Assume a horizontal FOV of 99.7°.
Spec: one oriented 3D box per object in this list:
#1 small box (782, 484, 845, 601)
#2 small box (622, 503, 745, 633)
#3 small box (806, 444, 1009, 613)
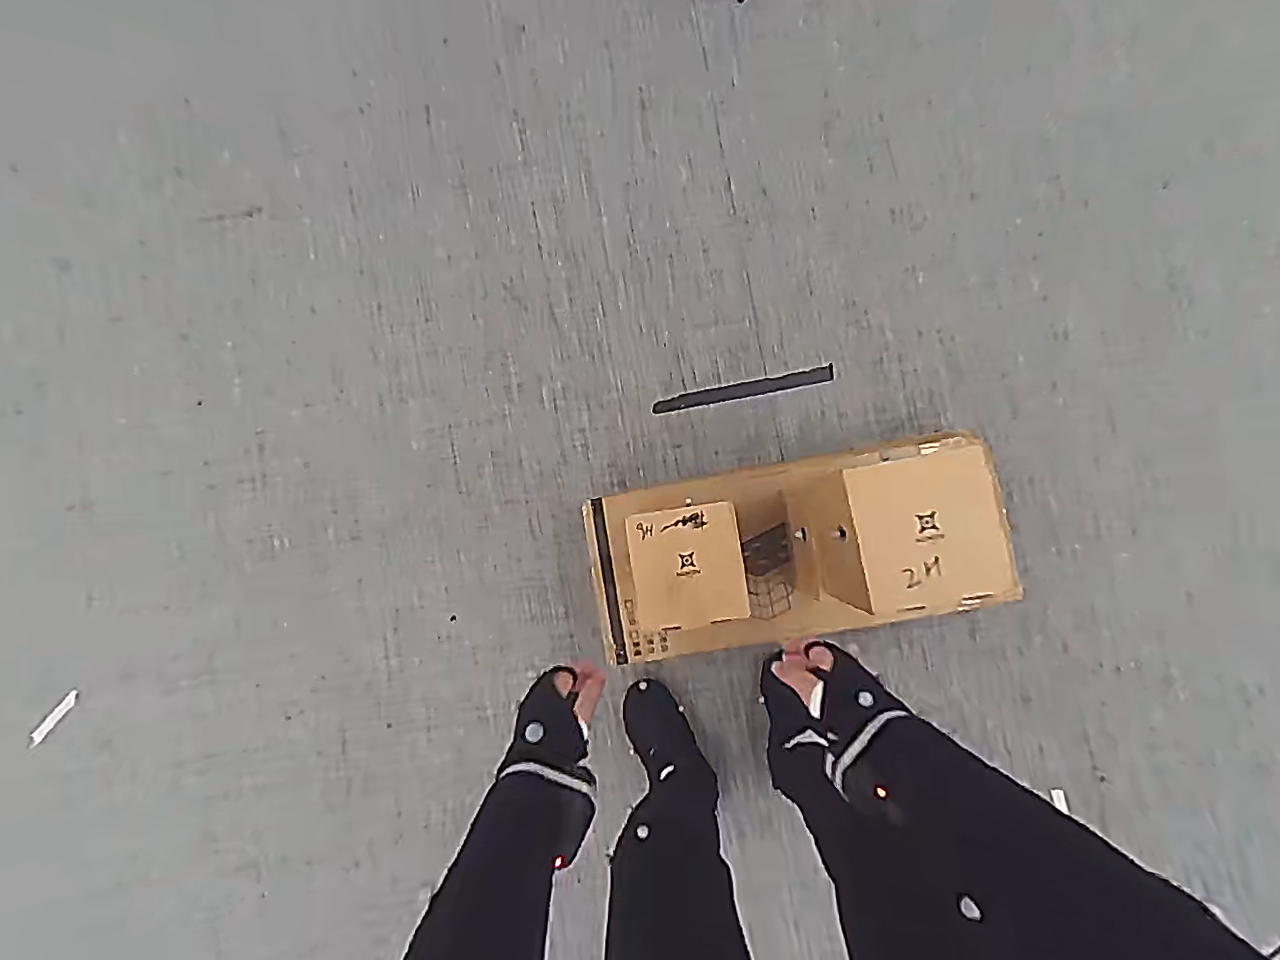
[{"bbox_3d":[0.333,0.089,0.868,0.168,0.176,0.179,-6,87,2],"label":"small box"},{"bbox_3d":[0.068,0.132,0.874,0.168,0.176,0.179,-8,87,2],"label":"small box"},{"bbox_3d":[0.329,0.062,0.704,0.168,0.176,0.179,-10,86,2],"label":"small box"}]
